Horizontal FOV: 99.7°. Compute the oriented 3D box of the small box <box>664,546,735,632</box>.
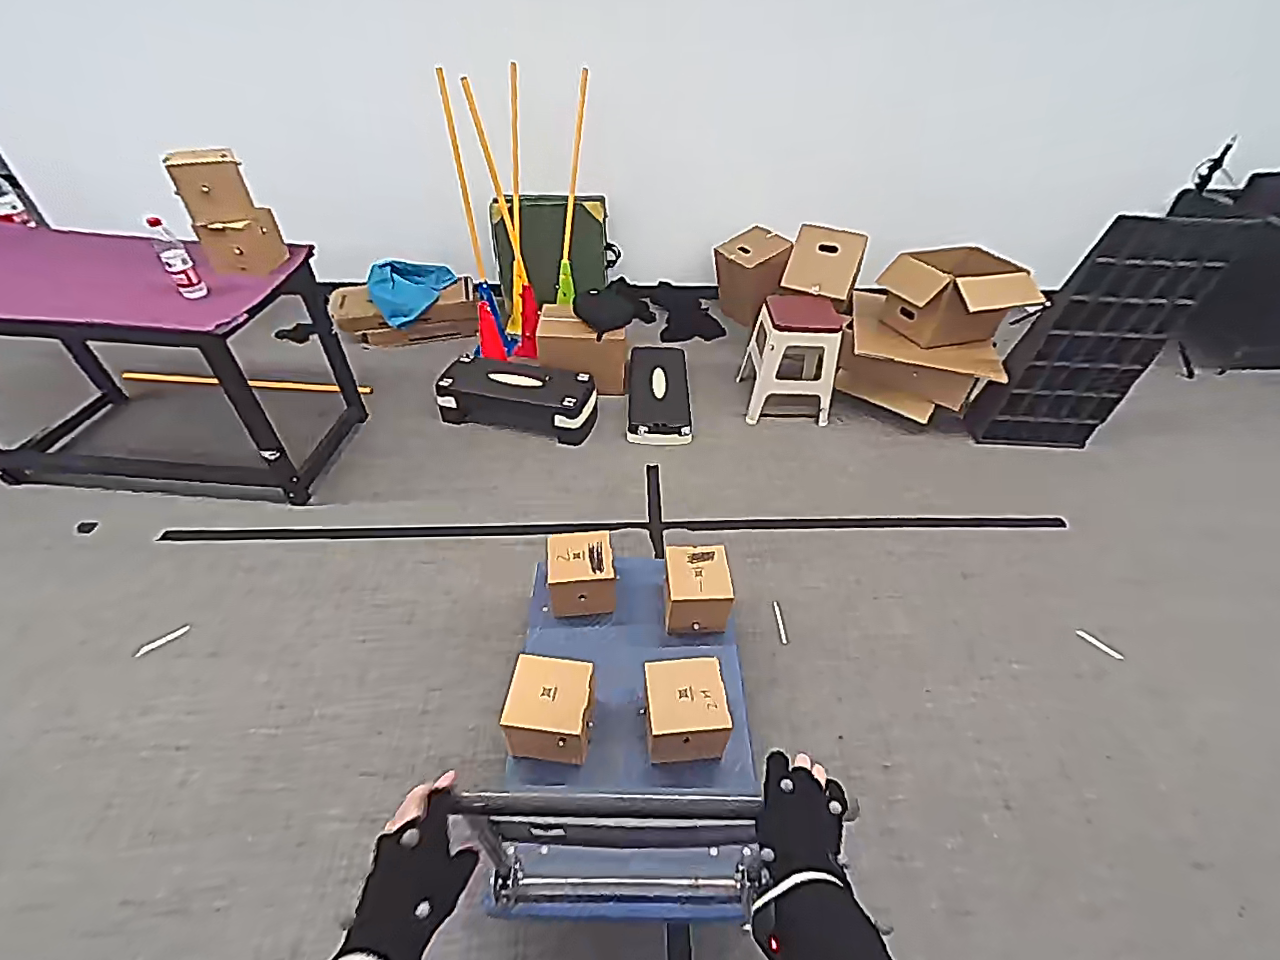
[{"bbox_3d":[0.157,0.304,1.503,0.168,0.176,0.179,-1,45,-3],"label":"small box"}]

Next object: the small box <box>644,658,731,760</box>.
[{"bbox_3d":[0.102,0.535,1.260,0.179,0.176,0.168,-2,44,-5],"label":"small box"}]

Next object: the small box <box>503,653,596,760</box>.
[{"bbox_3d":[-0.202,0.527,1.253,0.179,0.176,0.168,7,44,2],"label":"small box"}]
